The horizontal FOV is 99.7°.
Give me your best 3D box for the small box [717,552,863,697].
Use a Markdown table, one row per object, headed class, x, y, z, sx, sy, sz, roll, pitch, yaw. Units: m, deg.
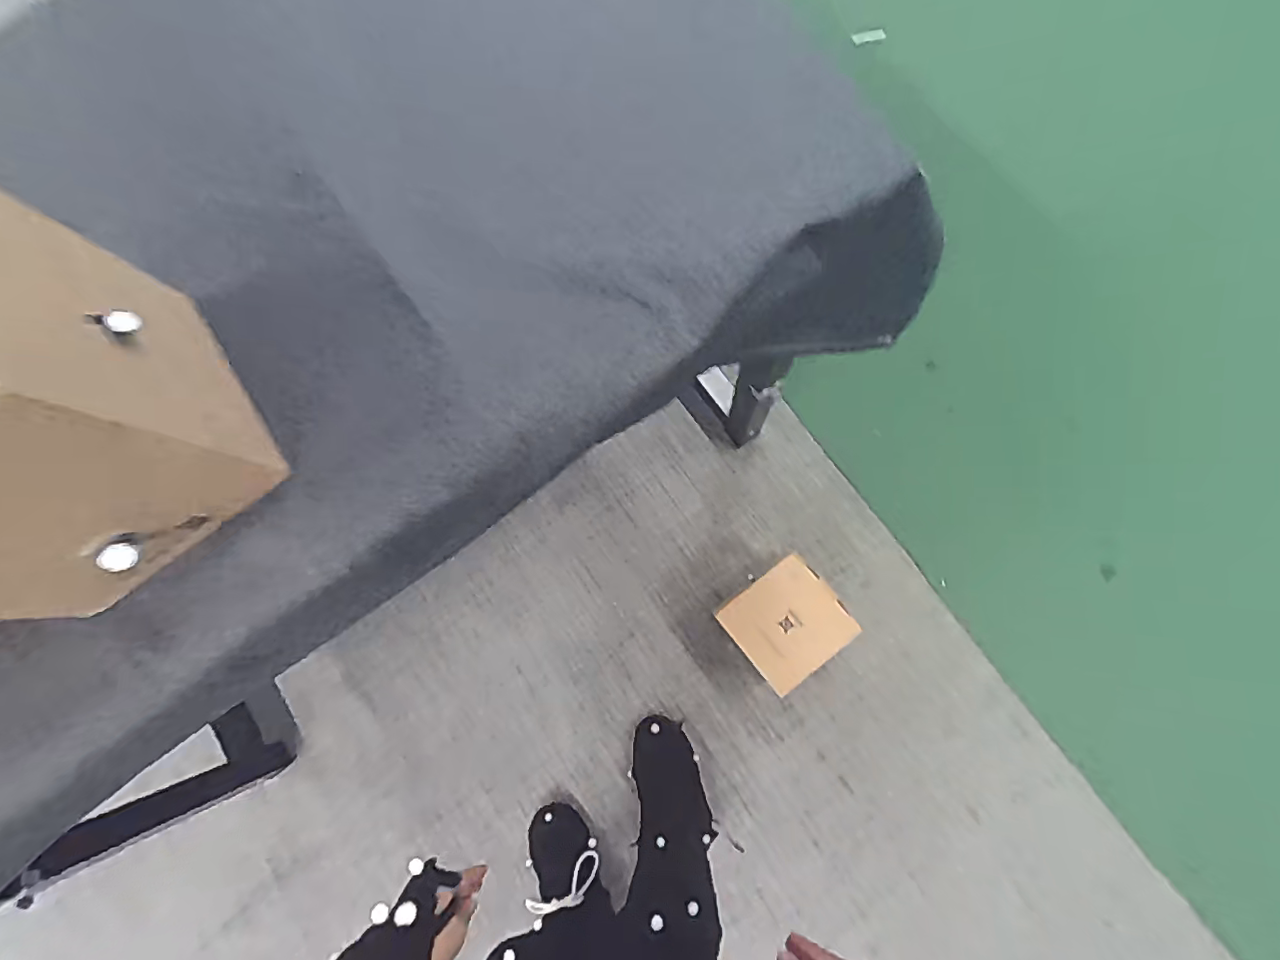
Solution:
| class | x | y | z | sx | sy | sz | roll | pitch | yaw |
| --- | --- | --- | --- | --- | --- | --- | --- | --- | --- |
| small box | 0.250 | 0.246 | 0.956 | 0.179 | 0.176 | 0.168 | -38 | 78 | -2 |
